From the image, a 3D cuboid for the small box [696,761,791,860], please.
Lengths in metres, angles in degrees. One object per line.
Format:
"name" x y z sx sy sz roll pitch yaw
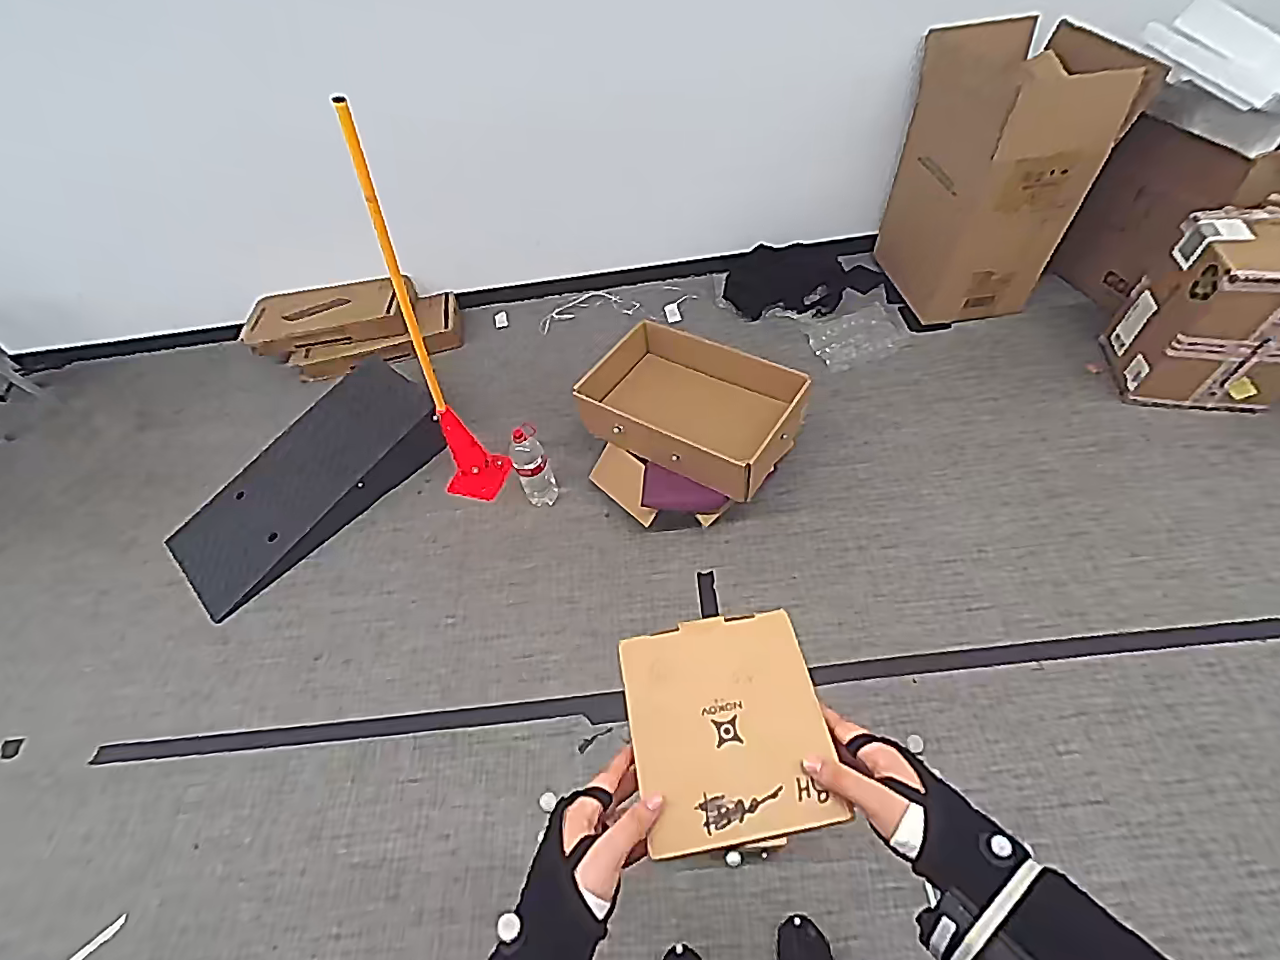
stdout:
"small box" 0.221 0.733 1.195 0.179 0.176 0.168 -8 51 4
